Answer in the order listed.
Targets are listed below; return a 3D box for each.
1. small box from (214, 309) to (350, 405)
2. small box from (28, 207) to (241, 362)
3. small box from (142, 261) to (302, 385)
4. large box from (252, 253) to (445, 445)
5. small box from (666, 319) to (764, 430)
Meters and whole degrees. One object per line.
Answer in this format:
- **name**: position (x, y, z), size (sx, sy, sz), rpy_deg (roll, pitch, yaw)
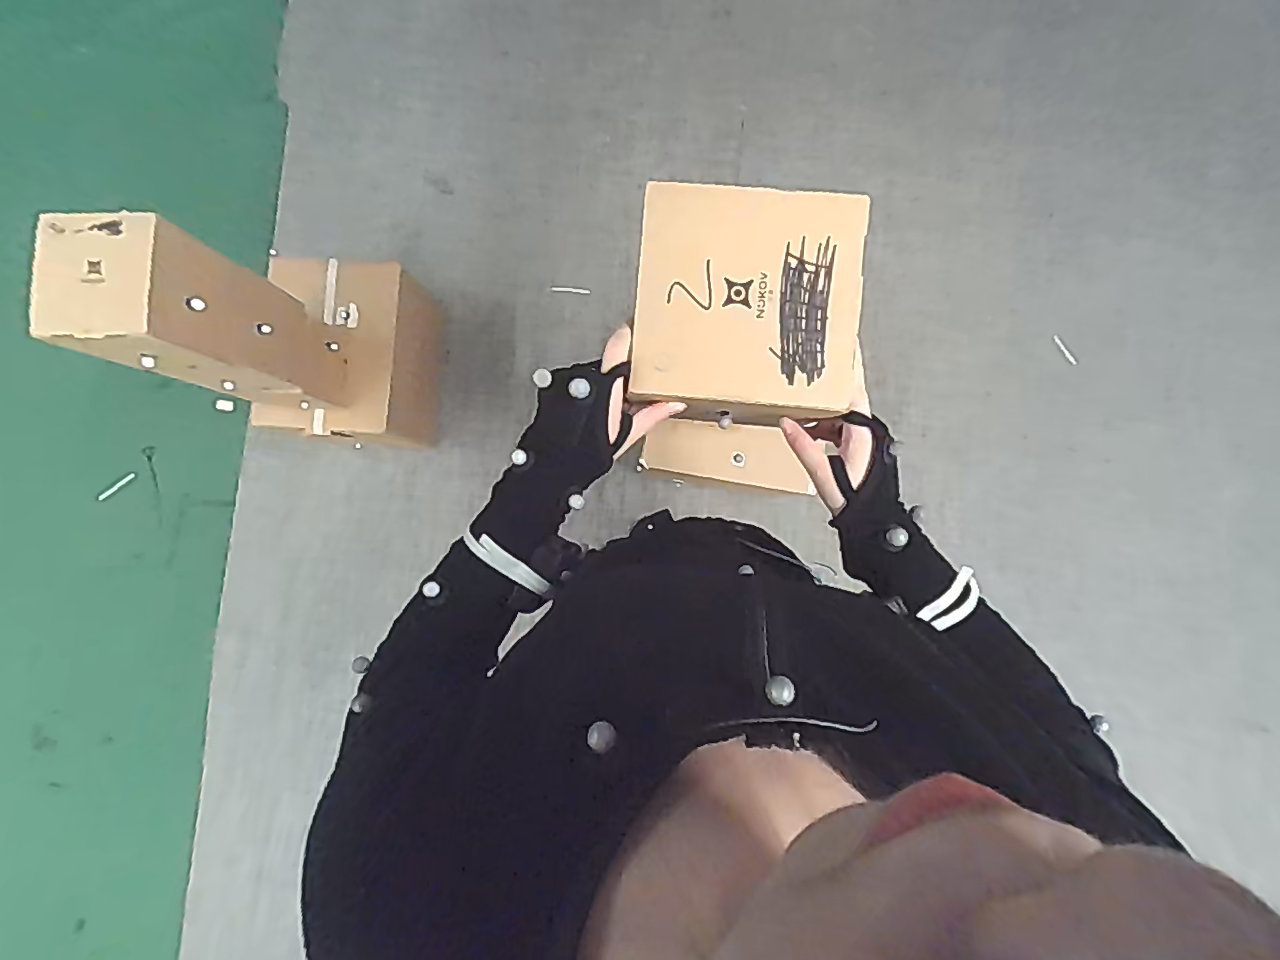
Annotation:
- **small box**: position (-0.742, -0.256, 1.139), size (0.179, 0.176, 0.168), rpy_deg (3, 86, 1)
- **small box**: position (-0.741, -0.281, 0.812), size (0.168, 0.176, 0.179), rpy_deg (1, 87, 0)
- **small box**: position (-0.742, -0.272, 0.976), size (0.168, 0.176, 0.179), rpy_deg (-1, 86, 0)
- **large box**: position (-0.719, -0.310, 1.387), size (0.320, 0.320, 0.408), rpy_deg (4, 86, 0)
- **small box**: position (0.149, -0.211, 1.133), size (0.168, 0.176, 0.179), rpy_deg (11, 84, 1)
